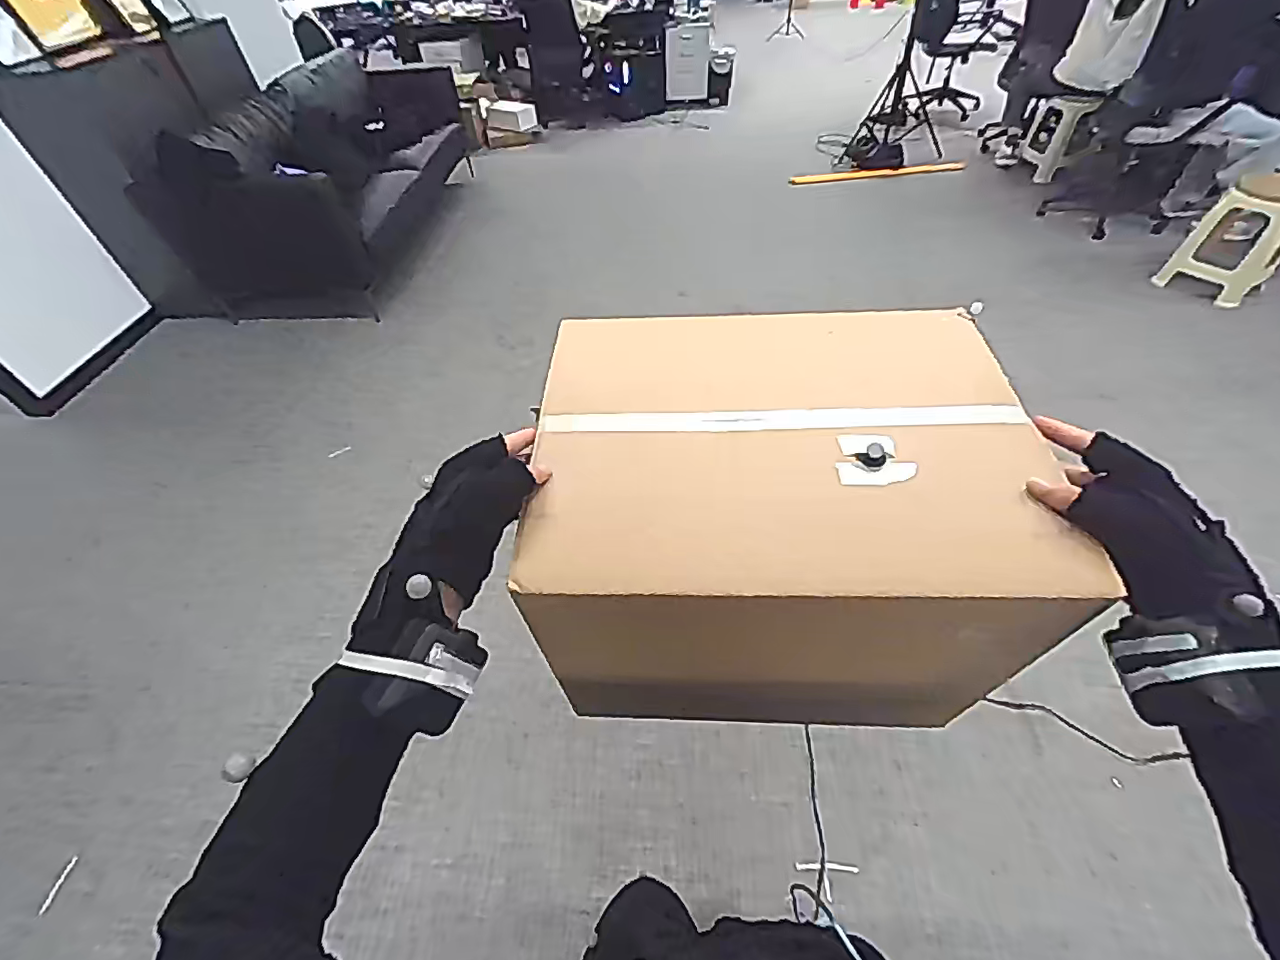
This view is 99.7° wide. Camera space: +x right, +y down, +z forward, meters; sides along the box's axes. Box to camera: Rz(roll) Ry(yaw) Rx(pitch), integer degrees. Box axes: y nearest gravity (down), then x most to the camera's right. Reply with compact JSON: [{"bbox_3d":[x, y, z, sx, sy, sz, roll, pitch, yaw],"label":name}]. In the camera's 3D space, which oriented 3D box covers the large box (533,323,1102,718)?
[{"bbox_3d":[0.128,0.053,0.584,0.408,0.320,0.320,0,52,3],"label":"large box"}]
